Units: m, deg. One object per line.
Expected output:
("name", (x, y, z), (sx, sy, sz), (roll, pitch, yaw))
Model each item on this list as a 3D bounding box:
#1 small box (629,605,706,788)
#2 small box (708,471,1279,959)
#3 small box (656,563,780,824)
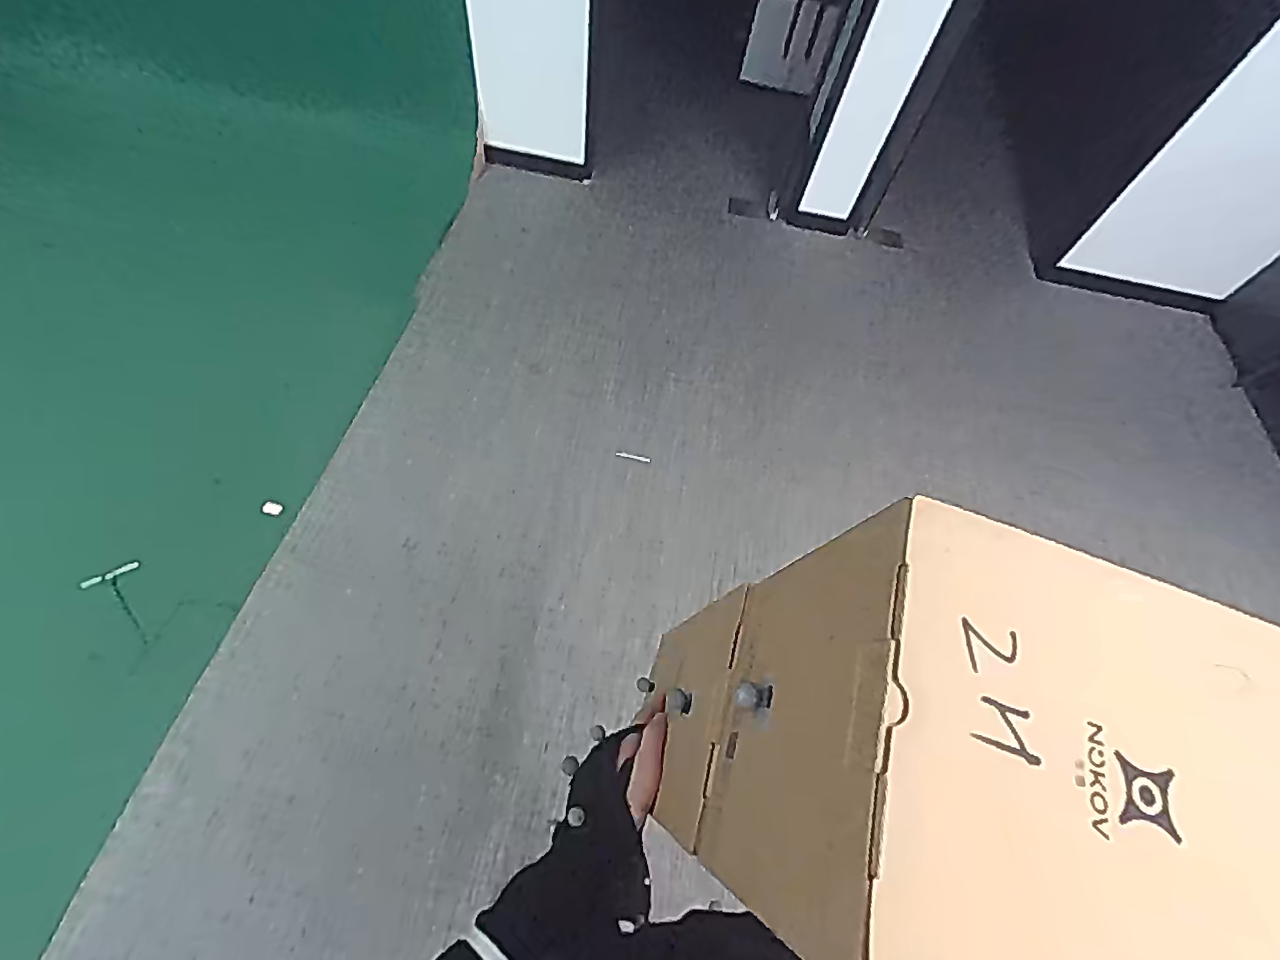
("small box", (0.100, 0.248, 0.568), (0.179, 0.176, 0.168), (18, 65, -1))
("small box", (0.153, 0.124, 0.268), (0.179, 0.176, 0.168), (20, 64, -1))
("small box", (0.122, 0.185, 0.418), (0.179, 0.176, 0.168), (19, 65, -1))
